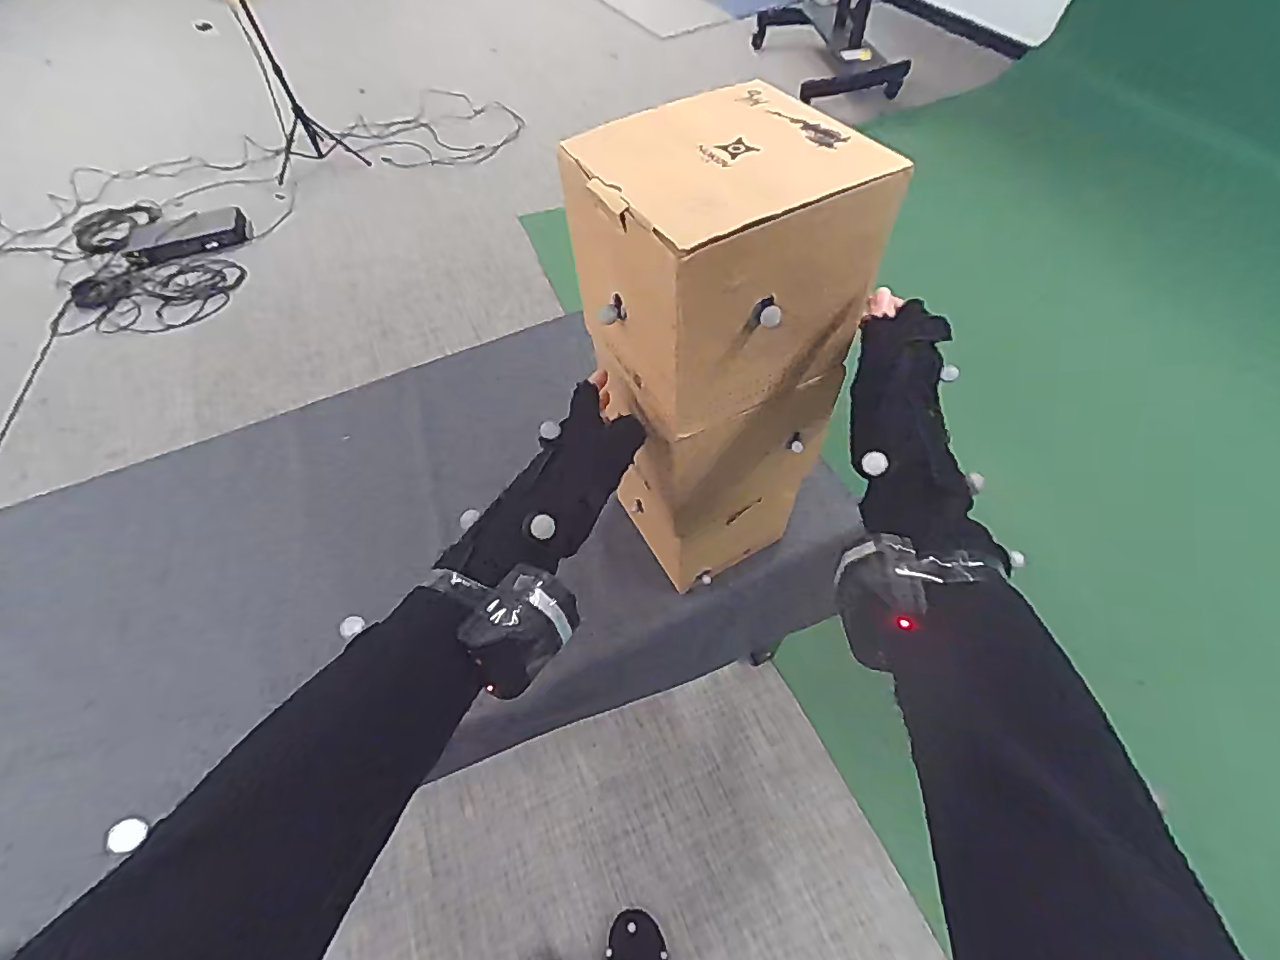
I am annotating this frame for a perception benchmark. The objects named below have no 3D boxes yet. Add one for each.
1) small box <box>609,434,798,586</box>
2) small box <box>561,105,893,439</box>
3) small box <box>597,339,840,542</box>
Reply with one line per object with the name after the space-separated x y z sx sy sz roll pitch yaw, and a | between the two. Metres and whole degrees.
0.077 0.017 0.709 0.168 0.176 0.179 -26 57 -14 | small box
0.060 -0.162 0.438 0.179 0.176 0.168 -26 57 -13 | small box
0.072 -0.066 0.571 0.179 0.176 0.168 -25 57 -12 | small box
